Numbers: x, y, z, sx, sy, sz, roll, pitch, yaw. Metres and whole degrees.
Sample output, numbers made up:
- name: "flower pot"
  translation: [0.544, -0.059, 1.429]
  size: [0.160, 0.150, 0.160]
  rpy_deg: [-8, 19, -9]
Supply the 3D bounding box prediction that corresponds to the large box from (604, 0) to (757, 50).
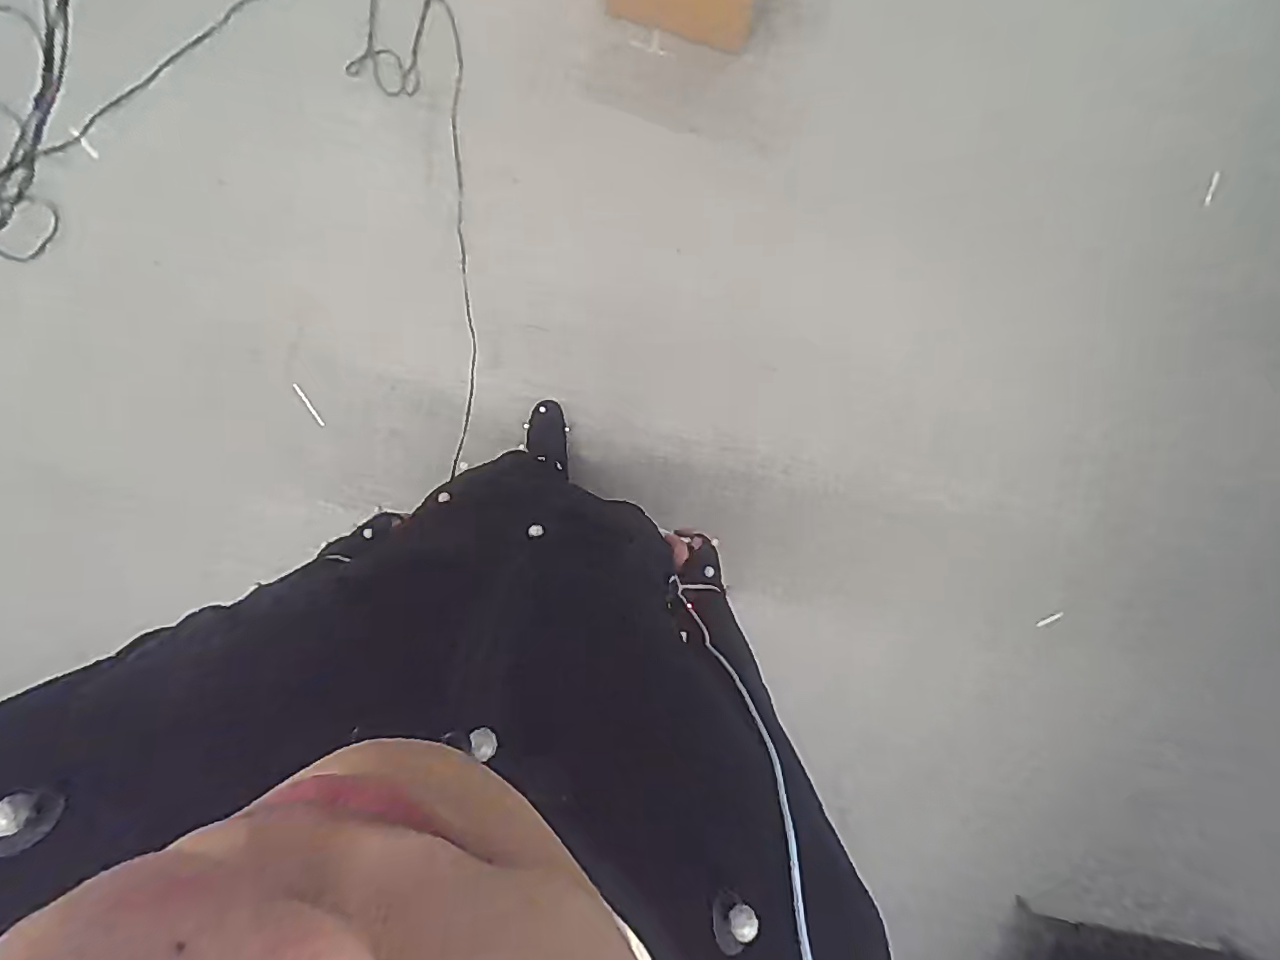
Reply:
- name: "large box"
  translation: [0.131, -1.396, 1.370]
  size: [0.408, 0.320, 0.320]
  rpy_deg: [13, 95, -5]
